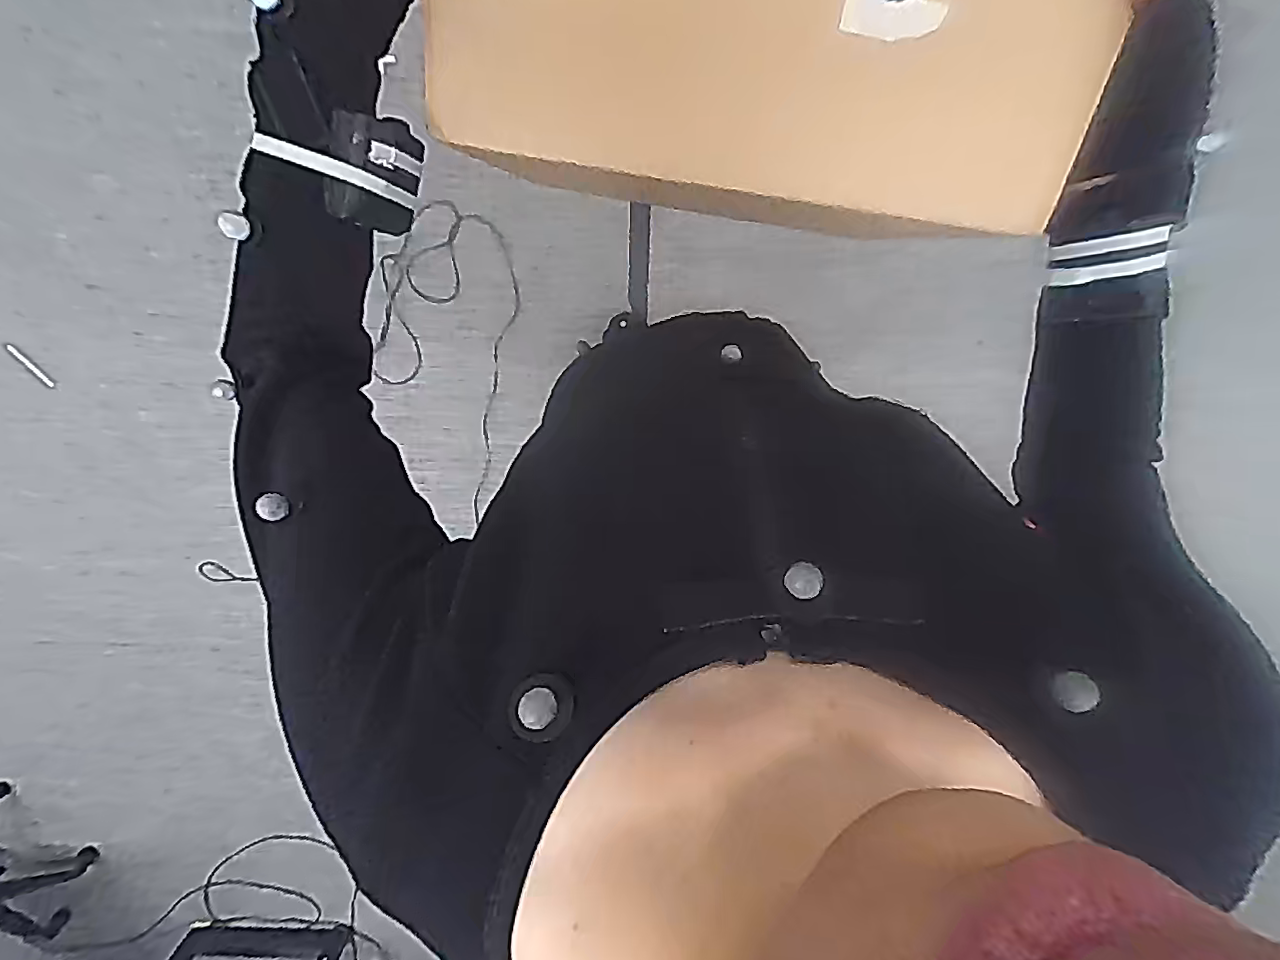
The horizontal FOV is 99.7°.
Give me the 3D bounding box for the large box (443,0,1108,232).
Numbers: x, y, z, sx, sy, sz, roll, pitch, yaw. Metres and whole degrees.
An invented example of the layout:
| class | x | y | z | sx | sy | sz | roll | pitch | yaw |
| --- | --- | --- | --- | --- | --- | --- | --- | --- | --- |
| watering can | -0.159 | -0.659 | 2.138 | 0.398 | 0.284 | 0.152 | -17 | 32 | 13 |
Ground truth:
| class | x | y | z | sx | sy | sz | roll | pitch | yaw |
| --- | --- | --- | --- | --- | --- | --- | --- | --- | --- |
| large box | 0.088 | -0.398 | 0.441 | 0.408 | 0.320 | 0.320 | 8 | 114 | -2 |
